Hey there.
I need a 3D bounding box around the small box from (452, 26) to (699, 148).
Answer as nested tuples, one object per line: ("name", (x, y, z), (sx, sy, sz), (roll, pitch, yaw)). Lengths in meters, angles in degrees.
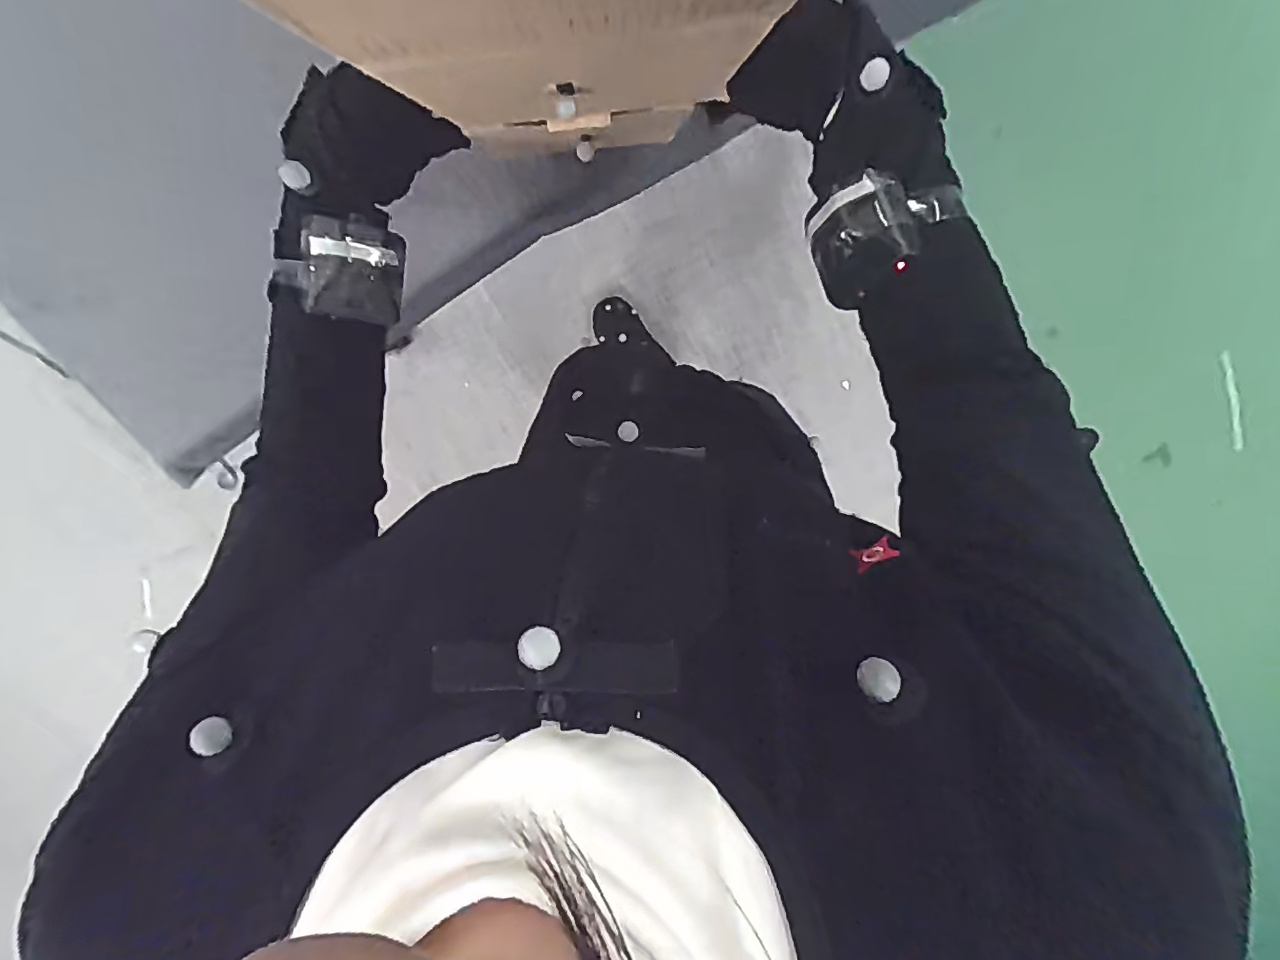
("small box", (-0.048, -0.360, 0.405), (0.168, 0.176, 0.179), (-6, 116, 1))
